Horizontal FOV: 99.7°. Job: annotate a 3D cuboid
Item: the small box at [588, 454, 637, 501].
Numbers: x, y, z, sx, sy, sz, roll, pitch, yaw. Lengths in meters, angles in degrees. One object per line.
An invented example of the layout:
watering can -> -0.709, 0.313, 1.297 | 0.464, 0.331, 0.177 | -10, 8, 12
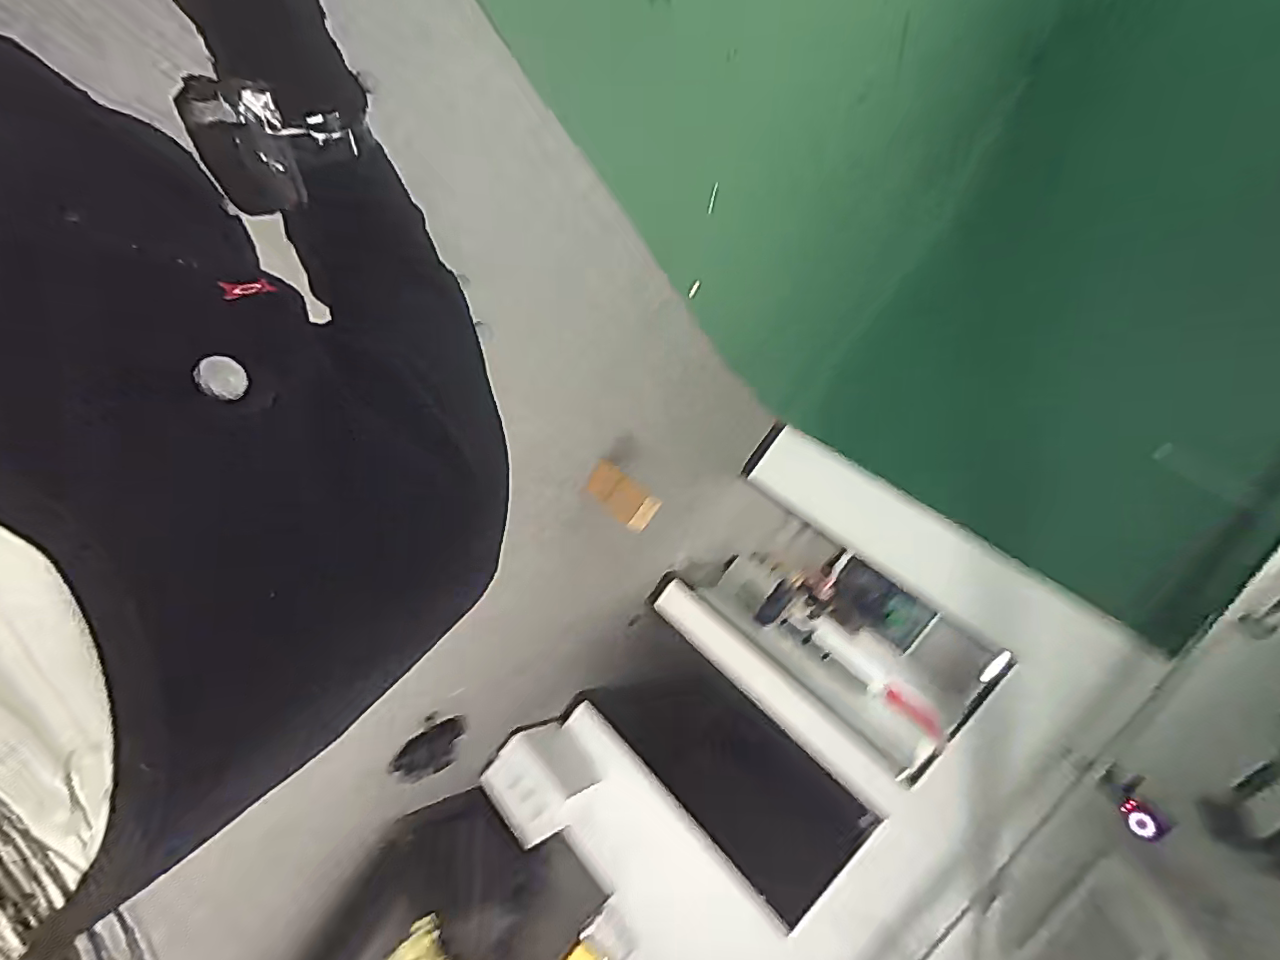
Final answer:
small box -> -0.132, -0.002, 2.670 | 0.179, 0.176, 0.168 | -56, 152, 5

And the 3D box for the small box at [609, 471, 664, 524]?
small box -> -0.026, 0.082, 2.584 | 0.179, 0.176, 0.168 | -56, 150, 6
